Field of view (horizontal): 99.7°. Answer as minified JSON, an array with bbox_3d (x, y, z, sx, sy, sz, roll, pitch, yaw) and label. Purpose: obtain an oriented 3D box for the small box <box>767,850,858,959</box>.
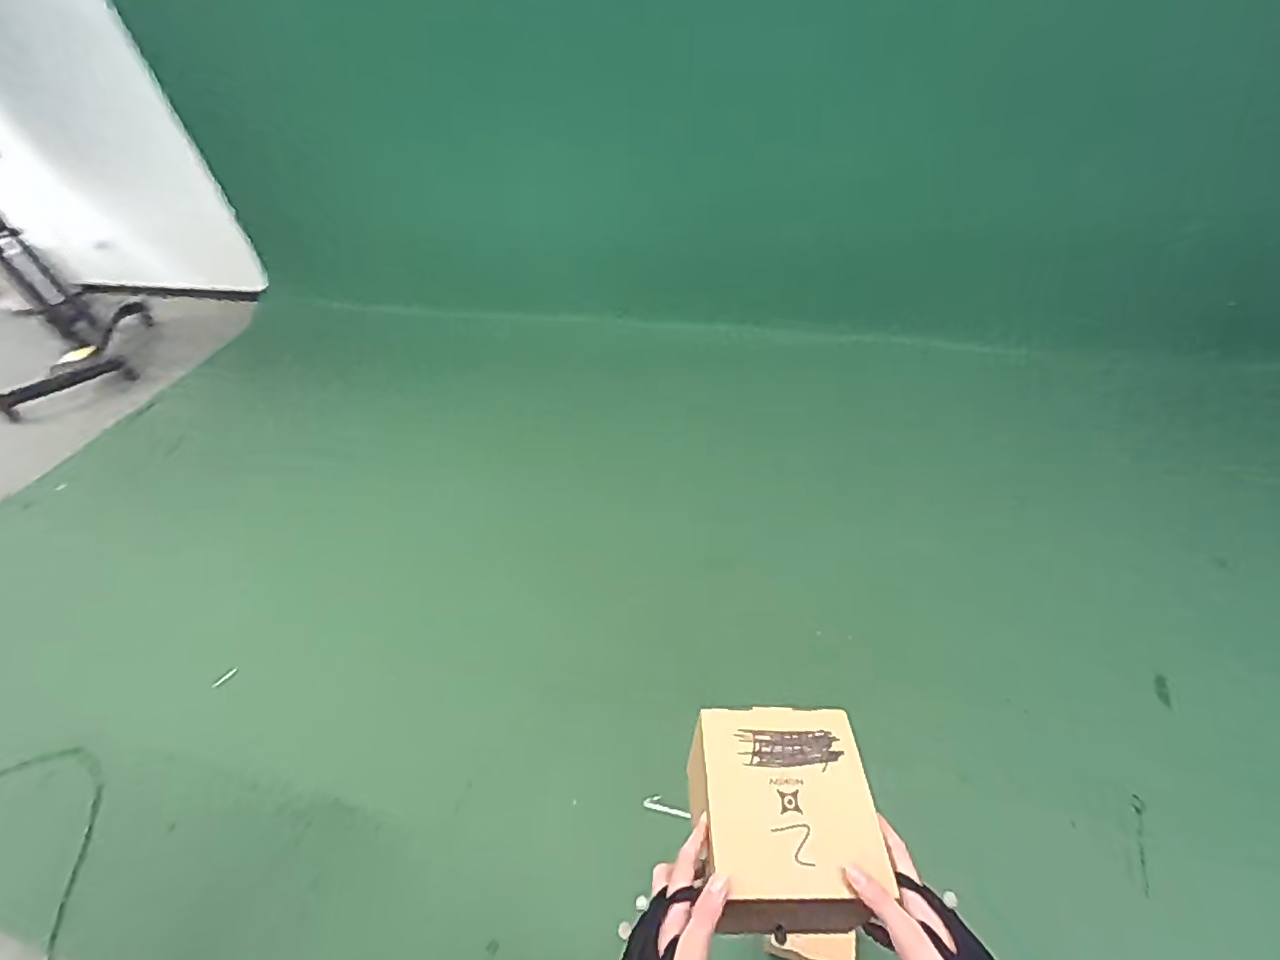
[{"bbox_3d":[0.379,0.961,1.198,0.168,0.176,0.179,9,48,15],"label":"small box"}]
